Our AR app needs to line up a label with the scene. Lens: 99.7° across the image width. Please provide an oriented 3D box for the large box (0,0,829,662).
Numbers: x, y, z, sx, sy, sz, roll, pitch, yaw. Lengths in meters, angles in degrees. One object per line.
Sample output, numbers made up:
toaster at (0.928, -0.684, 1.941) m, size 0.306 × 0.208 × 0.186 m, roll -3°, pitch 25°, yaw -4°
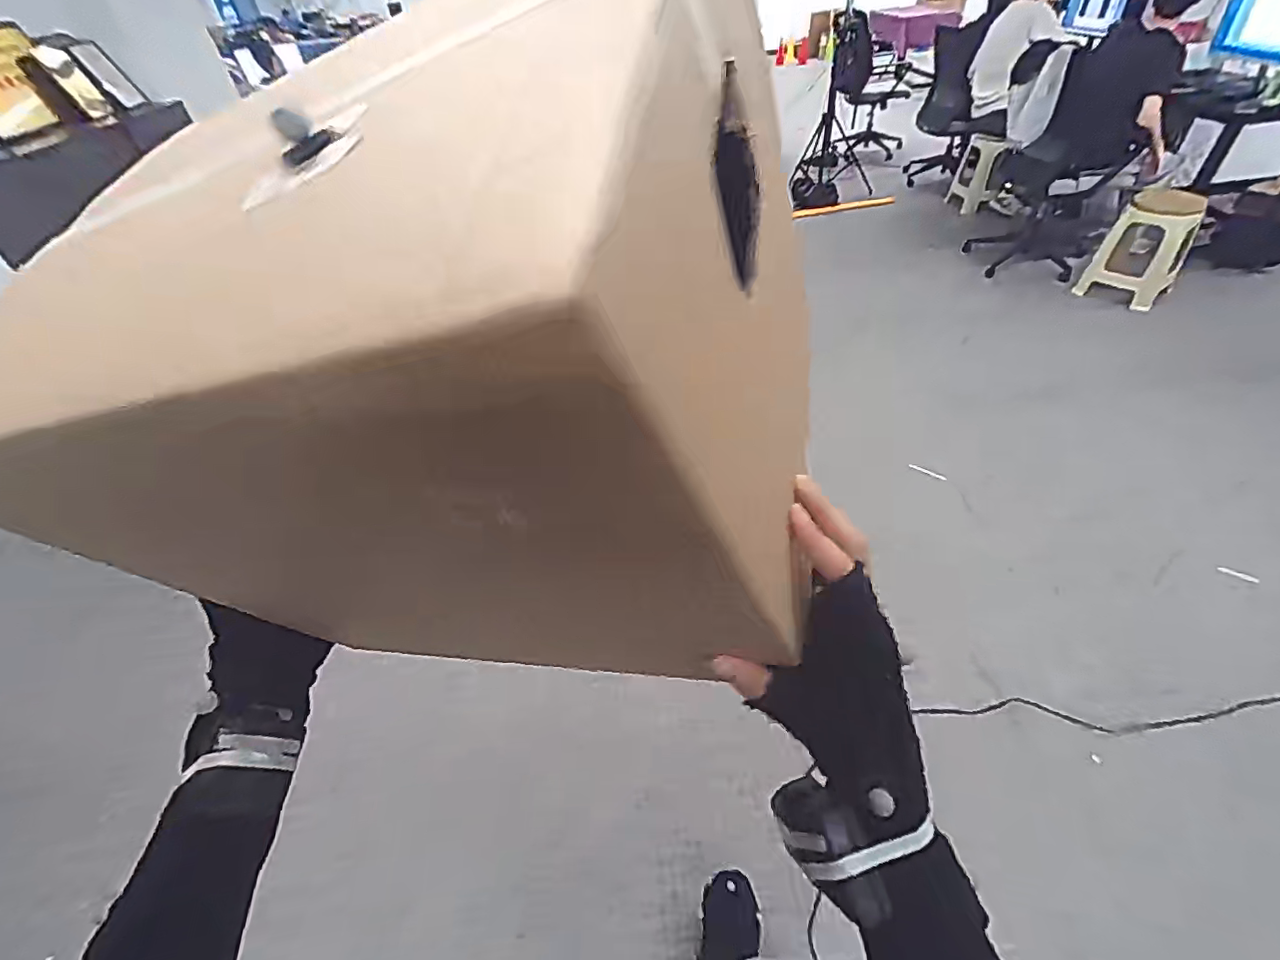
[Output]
large box at (-0.093, -0.074, 0.378) m, size 0.408 × 0.320 × 0.320 m, roll -4°, pitch 58°, yaw 21°
